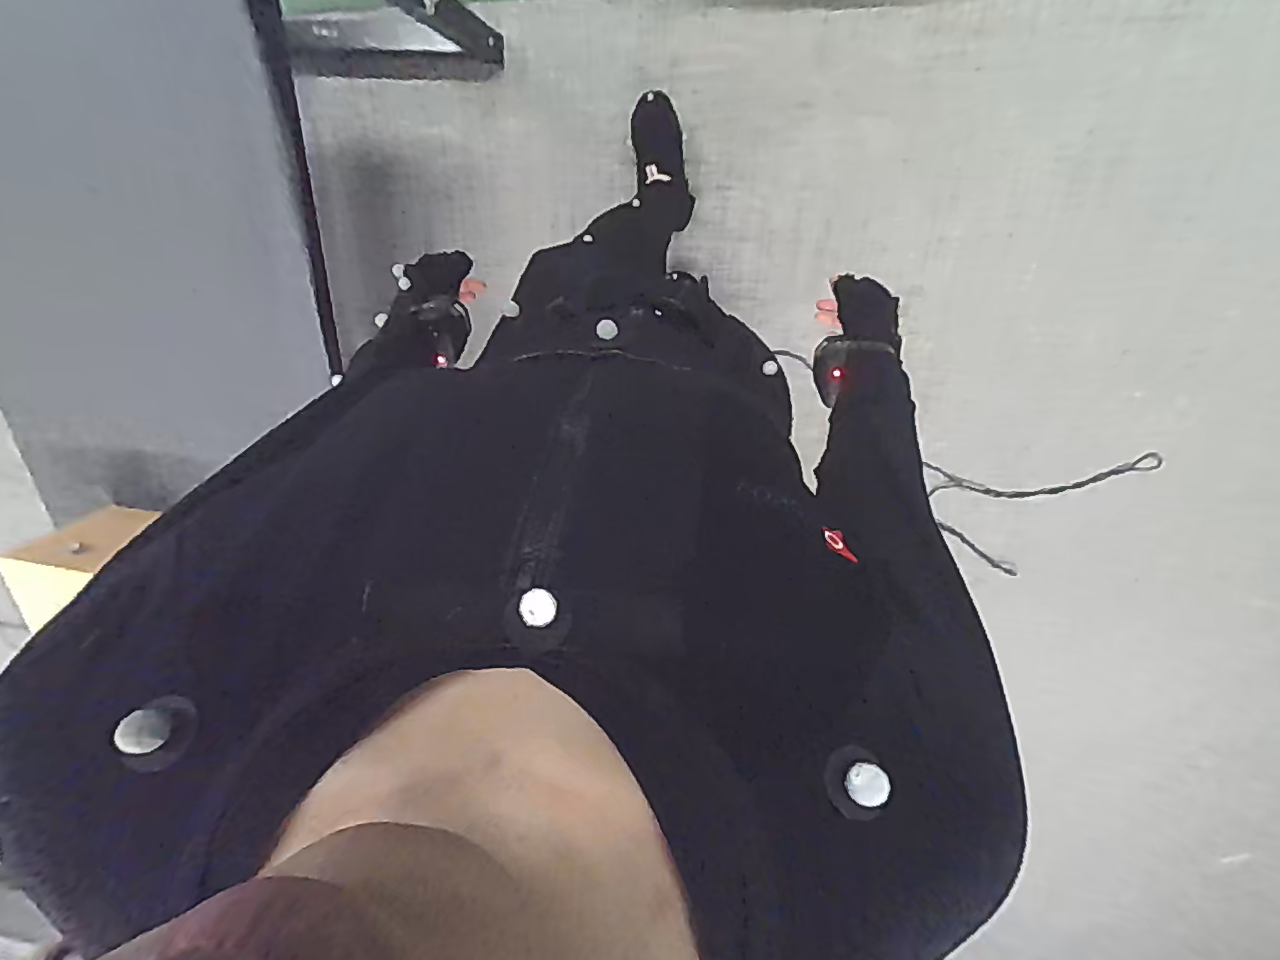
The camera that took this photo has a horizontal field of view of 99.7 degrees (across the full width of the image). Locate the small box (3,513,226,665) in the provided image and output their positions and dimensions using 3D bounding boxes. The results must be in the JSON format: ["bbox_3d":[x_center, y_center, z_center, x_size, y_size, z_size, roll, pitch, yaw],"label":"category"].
[{"bbox_3d":[-0.833,0.167,0.879,0.179,0.176,0.168,7,115,6],"label":"small box"}]
